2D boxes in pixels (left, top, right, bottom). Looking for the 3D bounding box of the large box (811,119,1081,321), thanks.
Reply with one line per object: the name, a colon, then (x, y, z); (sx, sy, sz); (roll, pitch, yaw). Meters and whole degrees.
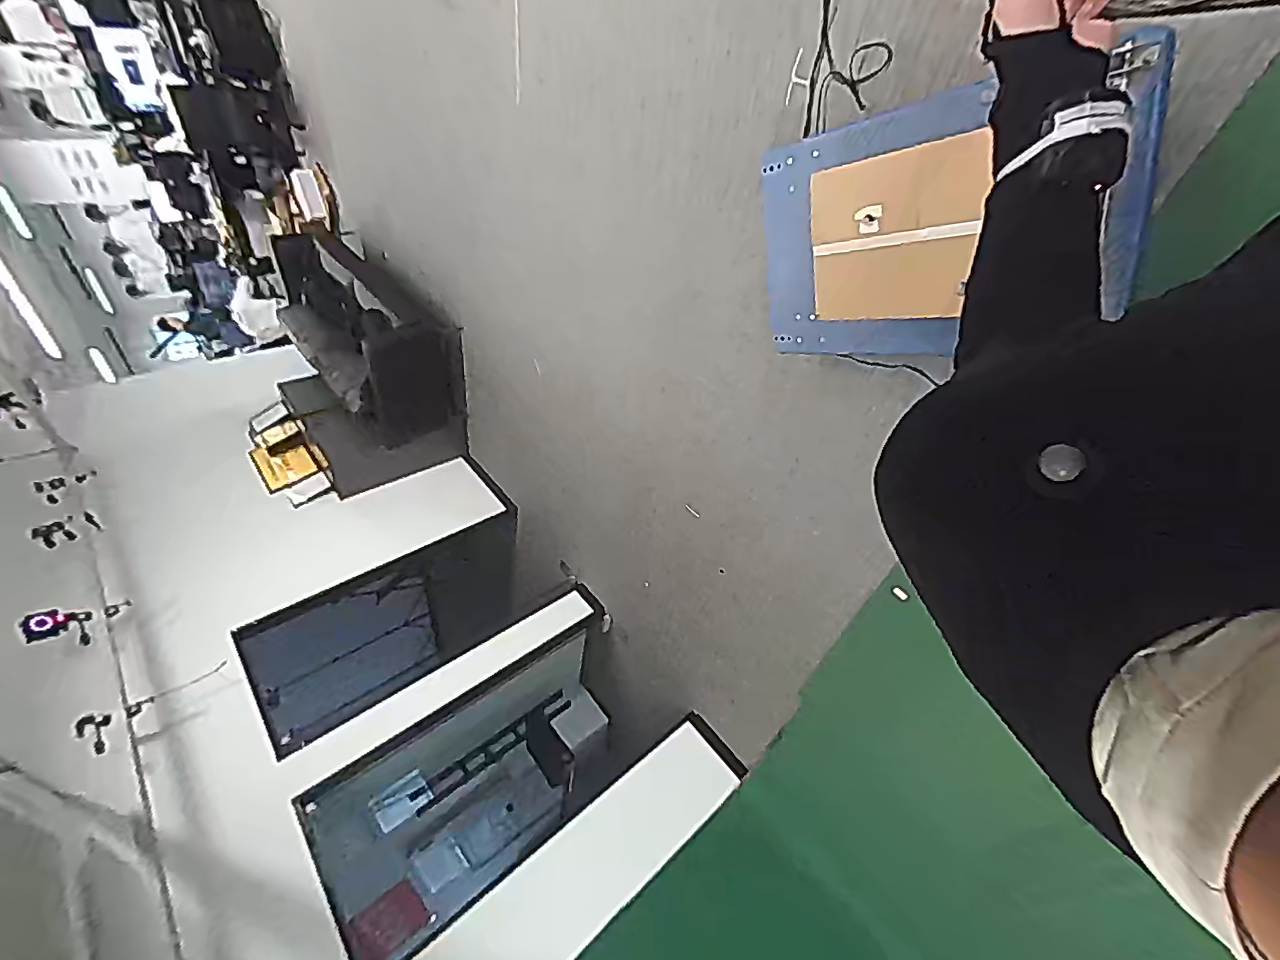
large box: (0.630, -0.529, 1.147); (0.408, 0.320, 0.320); (18, 124, 49)
